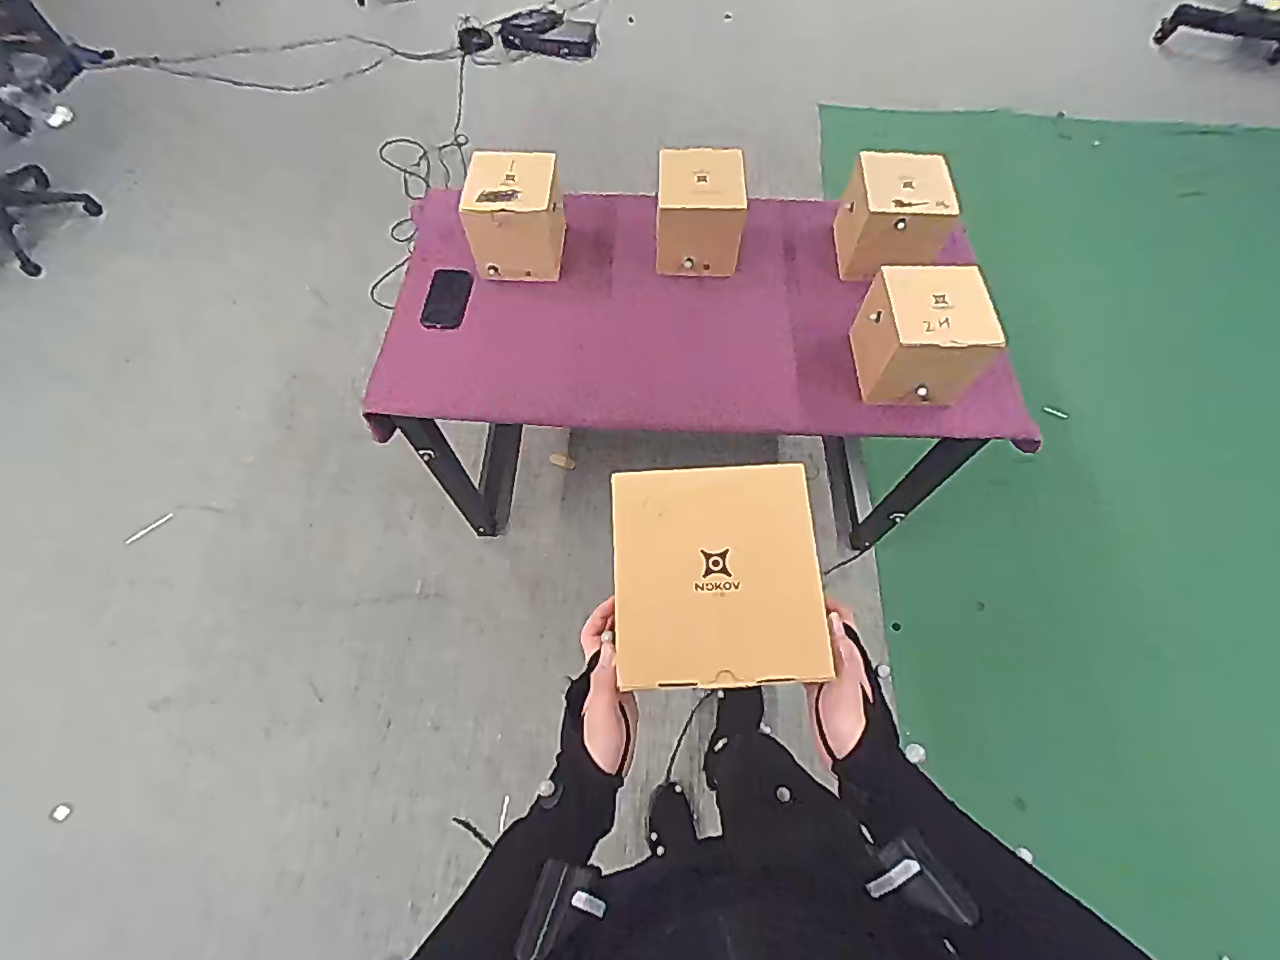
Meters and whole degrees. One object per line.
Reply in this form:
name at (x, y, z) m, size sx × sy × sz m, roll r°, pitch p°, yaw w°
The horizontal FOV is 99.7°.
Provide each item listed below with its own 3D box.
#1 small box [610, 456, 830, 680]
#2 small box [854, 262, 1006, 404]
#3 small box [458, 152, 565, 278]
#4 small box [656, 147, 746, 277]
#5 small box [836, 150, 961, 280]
small box at (0.059, 0.090, 0.502) m, size 0.168 × 0.176 × 0.179 m, roll -3°, pitch 71°, yaw 1°
small box at (0.489, -0.254, 0.946) m, size 0.168 × 0.176 × 0.179 m, roll 1°, pitch 64°, yaw 2°
small box at (-0.248, -0.531, 1.095) m, size 0.168 × 0.176 × 0.179 m, roll 2°, pitch 63°, yaw 1°
small box at (0.117, -0.543, 1.101) m, size 0.168 × 0.176 × 0.179 m, roll 1°, pitch 64°, yaw 2°
small box at (0.506, -0.528, 1.089) m, size 0.168 × 0.176 × 0.179 m, roll 3°, pitch 63°, yaw 3°
